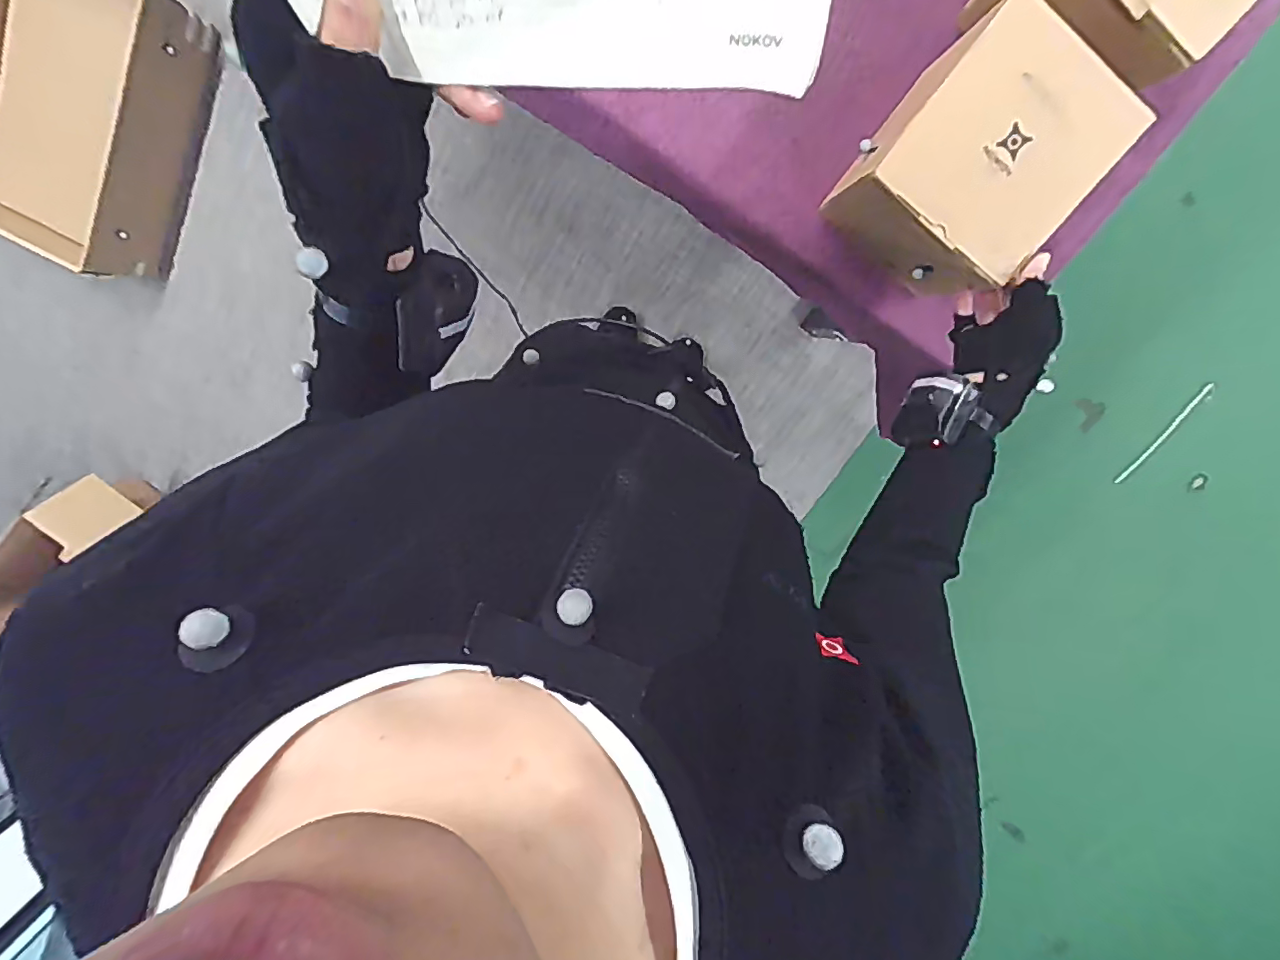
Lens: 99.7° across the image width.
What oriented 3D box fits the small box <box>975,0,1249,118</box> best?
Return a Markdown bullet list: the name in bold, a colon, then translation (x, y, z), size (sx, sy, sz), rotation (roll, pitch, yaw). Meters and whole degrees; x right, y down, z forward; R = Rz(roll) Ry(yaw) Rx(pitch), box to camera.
- **small box**: translation (0.445, -0.476, 0.486), size (0.168, 0.176, 0.179), rotation (38, 106, -9)
